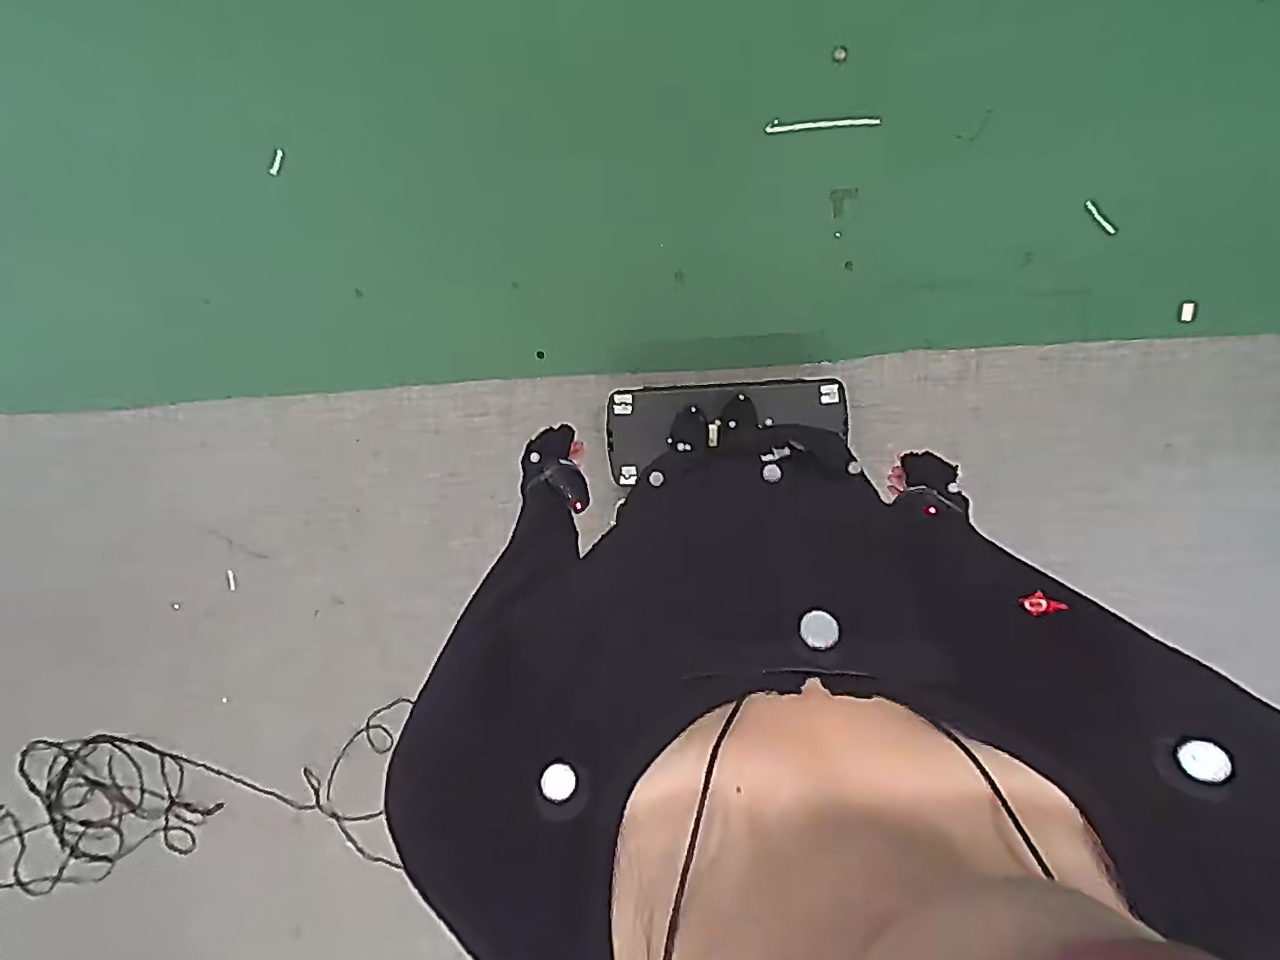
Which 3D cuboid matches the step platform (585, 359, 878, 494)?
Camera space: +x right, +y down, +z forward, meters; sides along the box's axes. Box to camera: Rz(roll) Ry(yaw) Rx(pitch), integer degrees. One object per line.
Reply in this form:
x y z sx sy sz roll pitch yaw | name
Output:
0.216 -0.136 1.360 0.684 0.204 0.286 -3 99 5 | step platform
